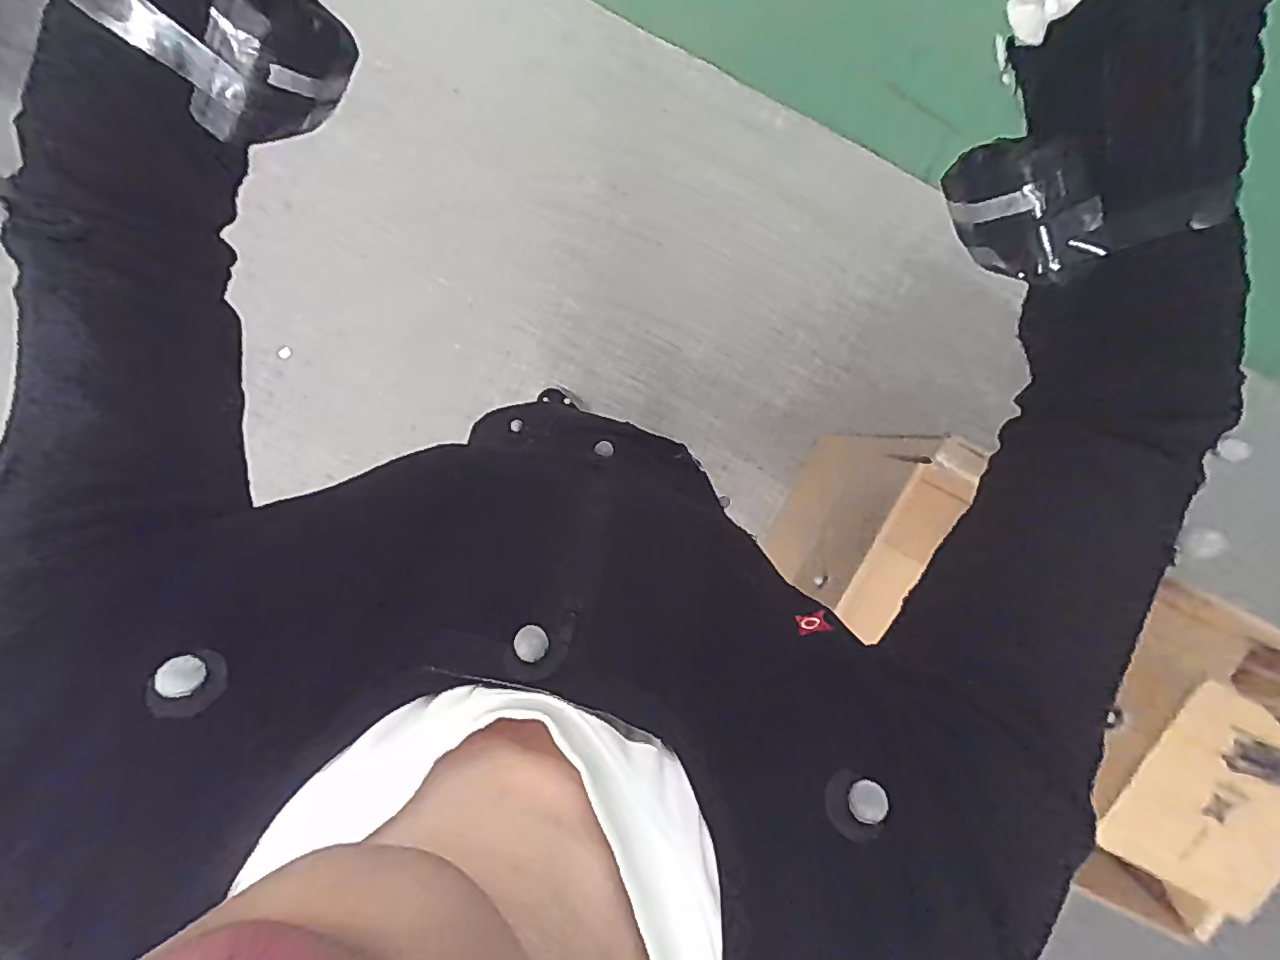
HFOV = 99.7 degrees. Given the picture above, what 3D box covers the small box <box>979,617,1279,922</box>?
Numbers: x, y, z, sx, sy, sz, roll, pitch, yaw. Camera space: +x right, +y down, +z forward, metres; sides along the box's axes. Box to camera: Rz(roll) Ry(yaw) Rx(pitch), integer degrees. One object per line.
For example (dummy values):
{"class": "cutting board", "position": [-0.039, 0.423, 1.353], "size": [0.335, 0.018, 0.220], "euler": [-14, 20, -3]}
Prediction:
{"class": "small box", "position": [0.492, 0.268, 0.544], "size": [0.168, 0.176, 0.179], "euler": [30, 97, -3]}
